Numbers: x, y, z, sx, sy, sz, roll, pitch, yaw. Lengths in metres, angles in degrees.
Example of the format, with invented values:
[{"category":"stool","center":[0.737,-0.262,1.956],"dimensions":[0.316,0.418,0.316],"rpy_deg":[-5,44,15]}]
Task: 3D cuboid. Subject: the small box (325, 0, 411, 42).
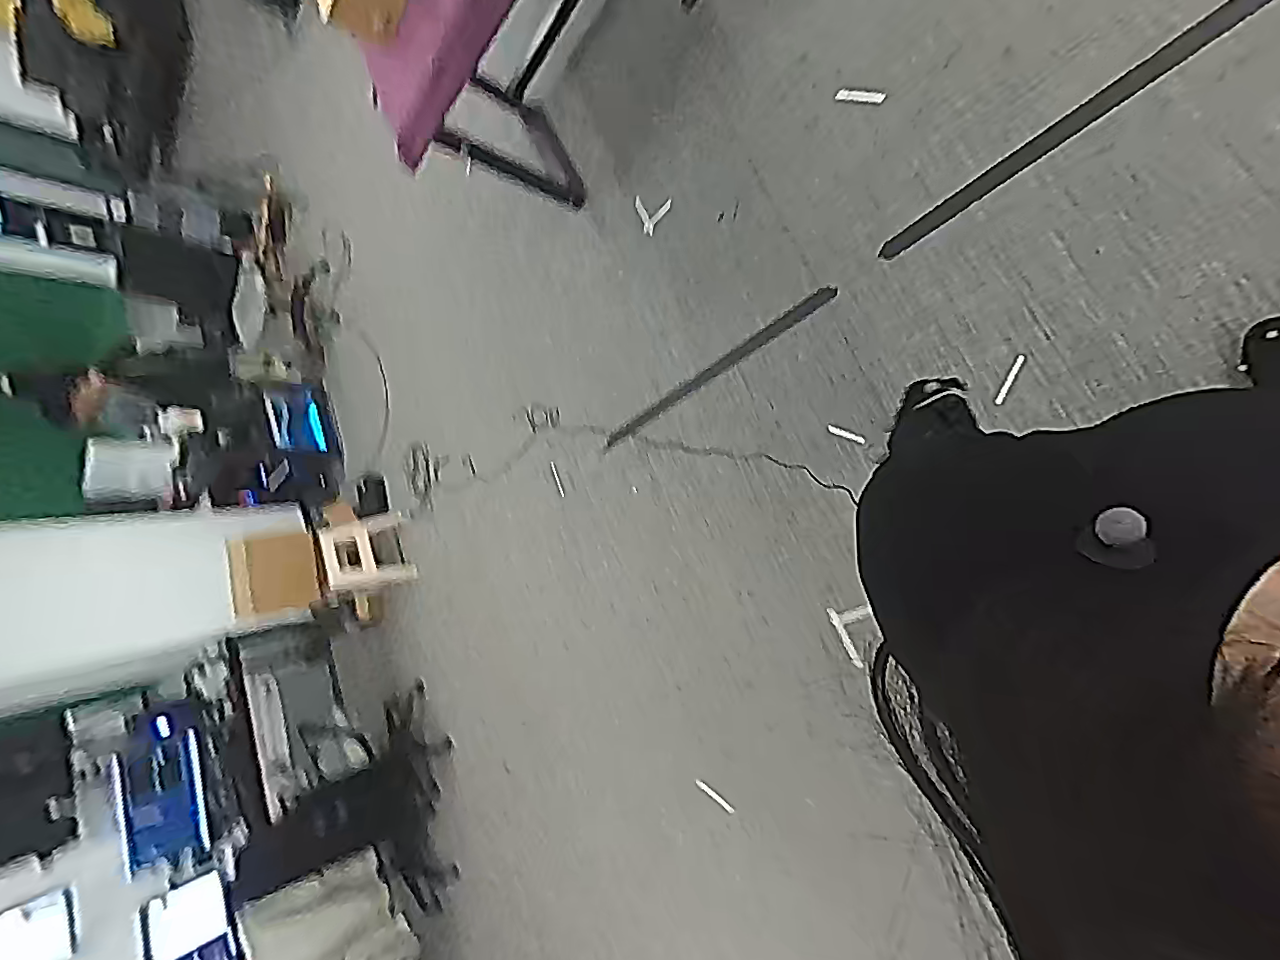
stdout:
[{"category":"small box","center":[-0.761,-1.378,1.494],"dimensions":[0.168,0.176,0.179],"rpy_deg":[-31,75,38]}]
